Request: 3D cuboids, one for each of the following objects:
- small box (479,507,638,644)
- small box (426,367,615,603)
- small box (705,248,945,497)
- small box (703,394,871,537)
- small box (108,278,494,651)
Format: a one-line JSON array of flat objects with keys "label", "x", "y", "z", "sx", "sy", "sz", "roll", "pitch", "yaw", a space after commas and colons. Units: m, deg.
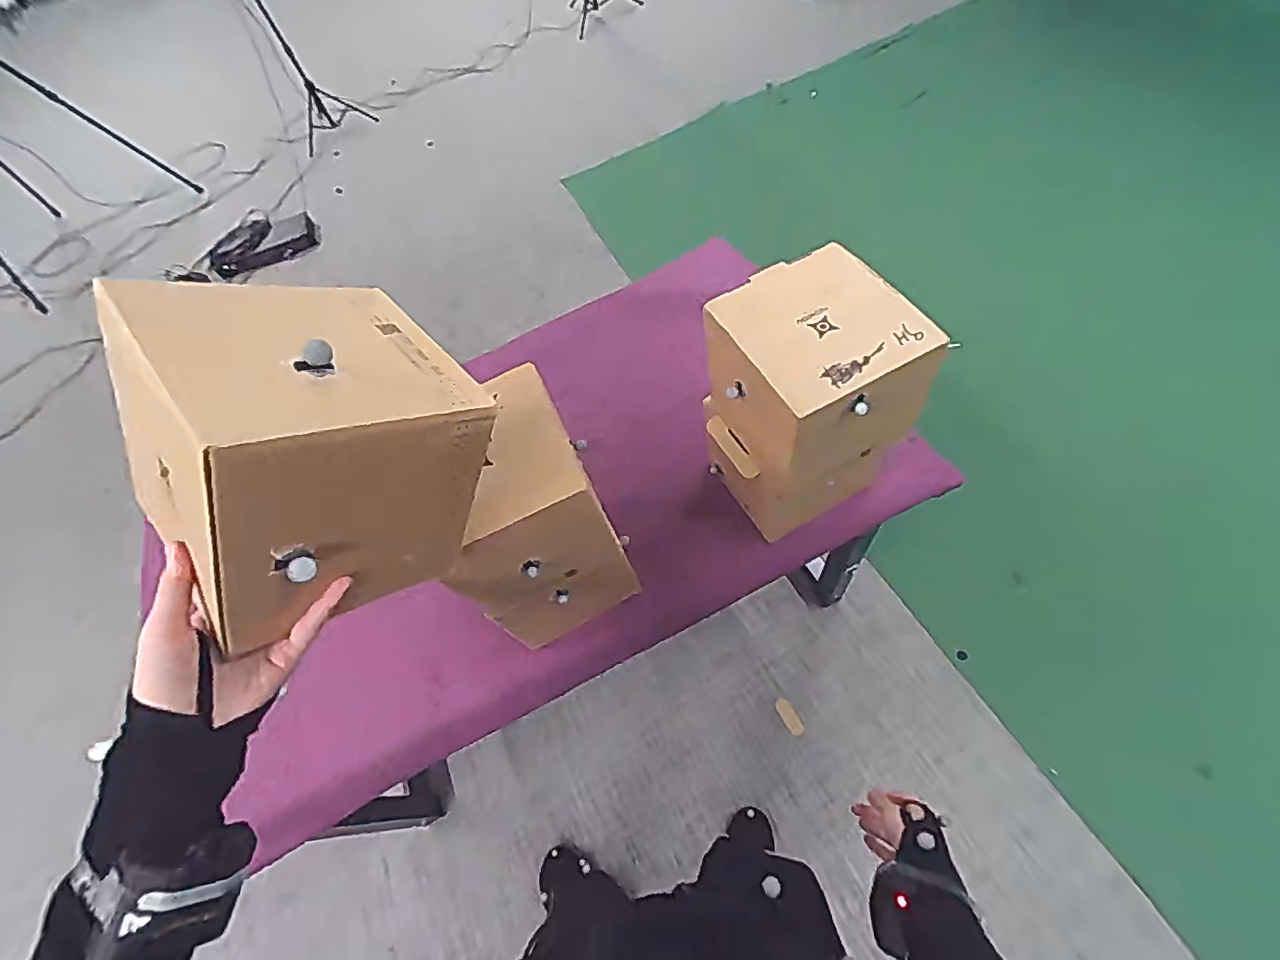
[{"label": "small box", "x": -0.121, "y": 0.098, "z": 0.733, "sx": 0.179, "sy": 0.176, "sz": 0.168, "roll": -27, "pitch": 59, "yaw": -6}, {"label": "small box", "x": -0.140, "y": 0.017, "z": 0.591, "sx": 0.168, "sy": 0.176, "sz": 0.179, "roll": -24, "pitch": 59, "yaw": -4}, {"label": "small box", "x": 0.188, "y": -0.113, "z": 0.602, "sx": 0.168, "sy": 0.176, "sz": 0.179, "roll": -27, "pitch": 59, "yaw": -5}, {"label": "small box", "x": 0.207, "y": -0.047, "z": 0.753, "sx": 0.179, "sy": 0.176, "sz": 0.168, "roll": -29, "pitch": 60, "yaw": -7}, {"label": "small box", "x": -0.230, "y": -0.022, "z": 0.388, "sx": 0.168, "sy": 0.179, "sz": 0.176, "roll": 42, "pitch": 36, "yaw": 21}]
